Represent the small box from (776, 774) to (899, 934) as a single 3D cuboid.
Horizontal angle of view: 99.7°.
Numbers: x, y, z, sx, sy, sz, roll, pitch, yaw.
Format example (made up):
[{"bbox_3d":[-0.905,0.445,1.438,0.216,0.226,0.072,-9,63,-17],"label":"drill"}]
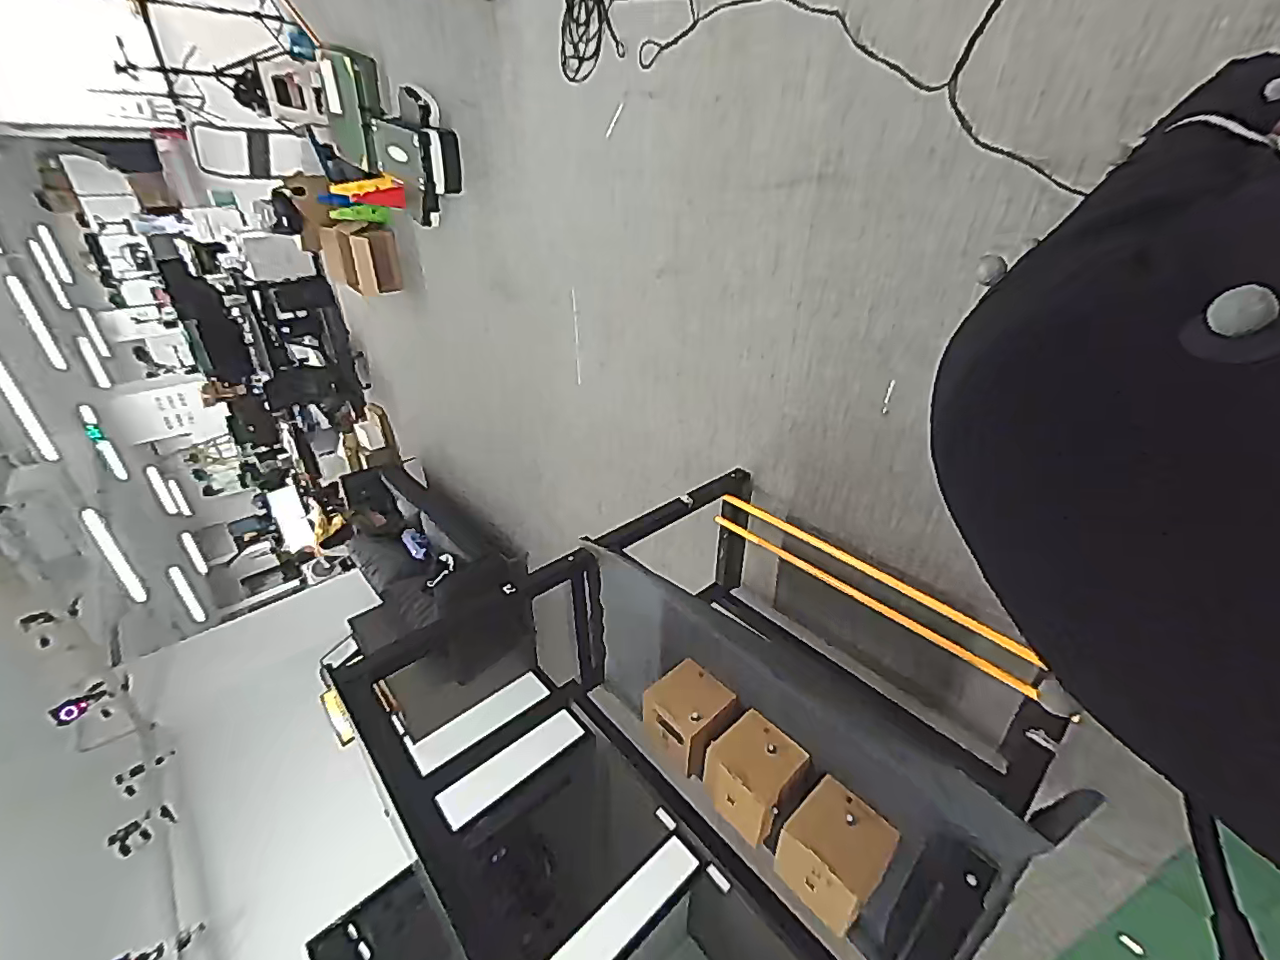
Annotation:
[{"bbox_3d":[0.403,0.758,1.111,0.168,0.176,0.179,29,131,40],"label":"small box"}]
